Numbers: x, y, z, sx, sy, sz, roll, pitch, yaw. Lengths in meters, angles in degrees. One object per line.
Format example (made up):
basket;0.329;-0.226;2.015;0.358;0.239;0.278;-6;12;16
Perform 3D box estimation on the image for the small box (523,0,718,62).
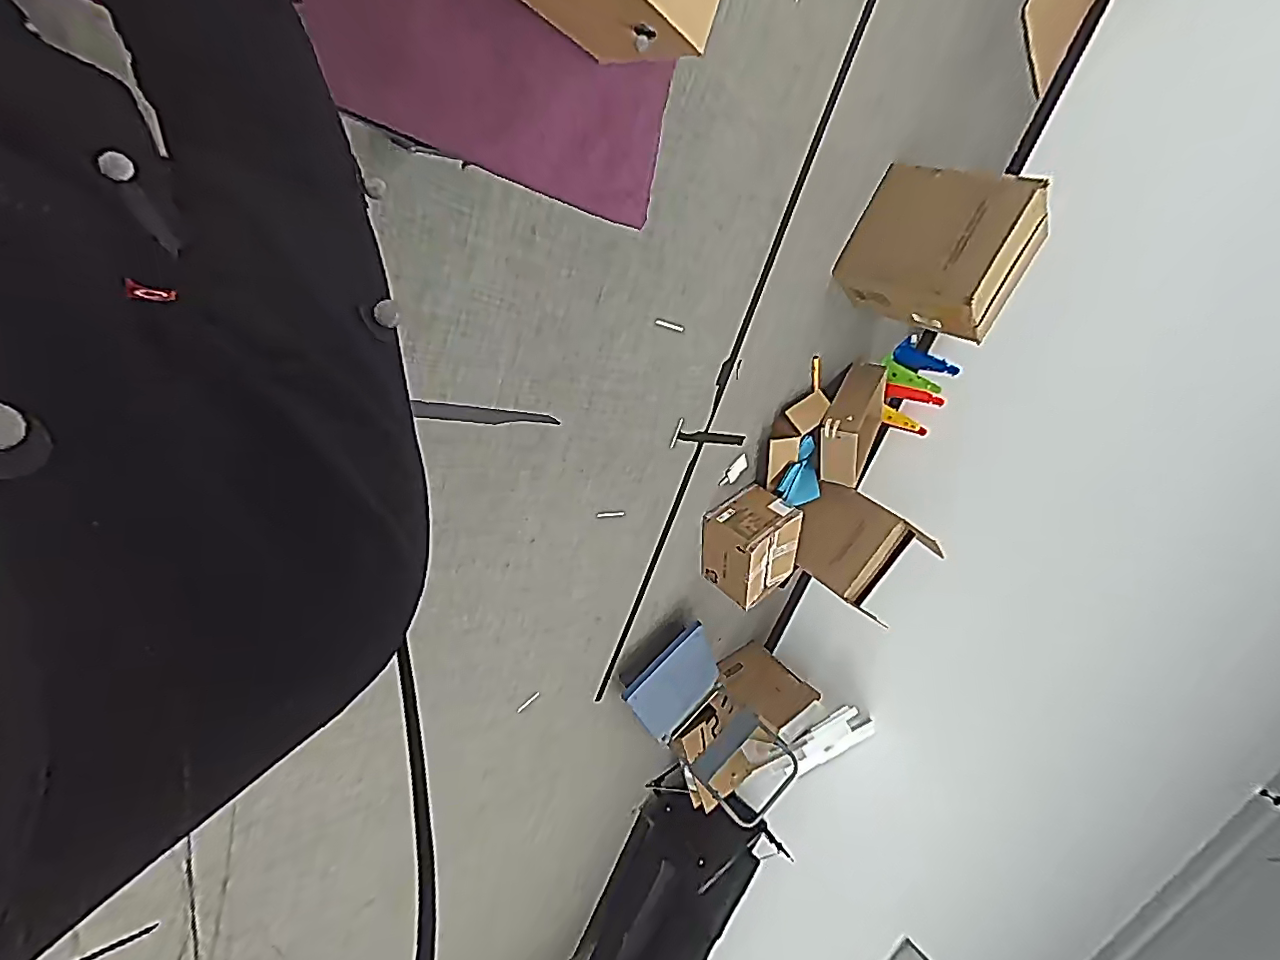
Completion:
small box;-0.025;-0.536;0.511;0.179;0.176;0.168;1;115;-48
